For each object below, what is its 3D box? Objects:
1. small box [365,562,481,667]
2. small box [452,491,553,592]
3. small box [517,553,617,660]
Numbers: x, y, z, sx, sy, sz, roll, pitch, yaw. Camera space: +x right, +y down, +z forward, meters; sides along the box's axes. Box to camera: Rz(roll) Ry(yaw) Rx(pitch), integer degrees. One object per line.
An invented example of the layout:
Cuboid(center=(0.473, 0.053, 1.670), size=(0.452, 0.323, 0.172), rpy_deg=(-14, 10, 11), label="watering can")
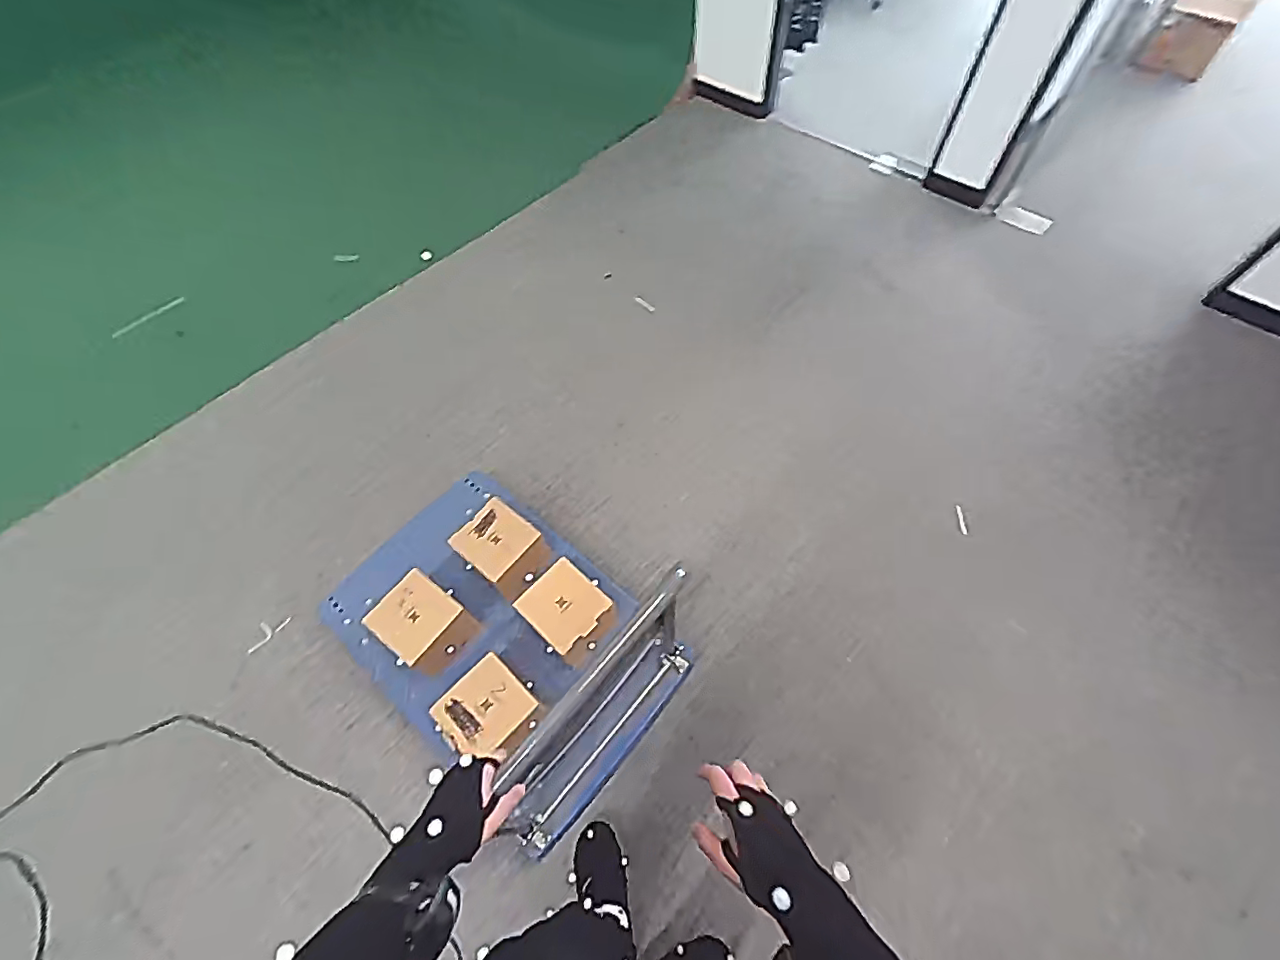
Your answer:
Cuboid(center=(-0.522, 0.337, 1.329), size=(0.179, 0.176, 0.168), rpy_deg=(34, 66, 18), label="small box")
Cuboid(center=(-0.353, 0.168, 1.418), size=(0.179, 0.176, 0.168), rpy_deg=(36, 69, 19), label="small box")
Cuboid(center=(-0.173, 0.317, 1.333), size=(0.179, 0.176, 0.168), rpy_deg=(39, 69, 20), label="small box")
